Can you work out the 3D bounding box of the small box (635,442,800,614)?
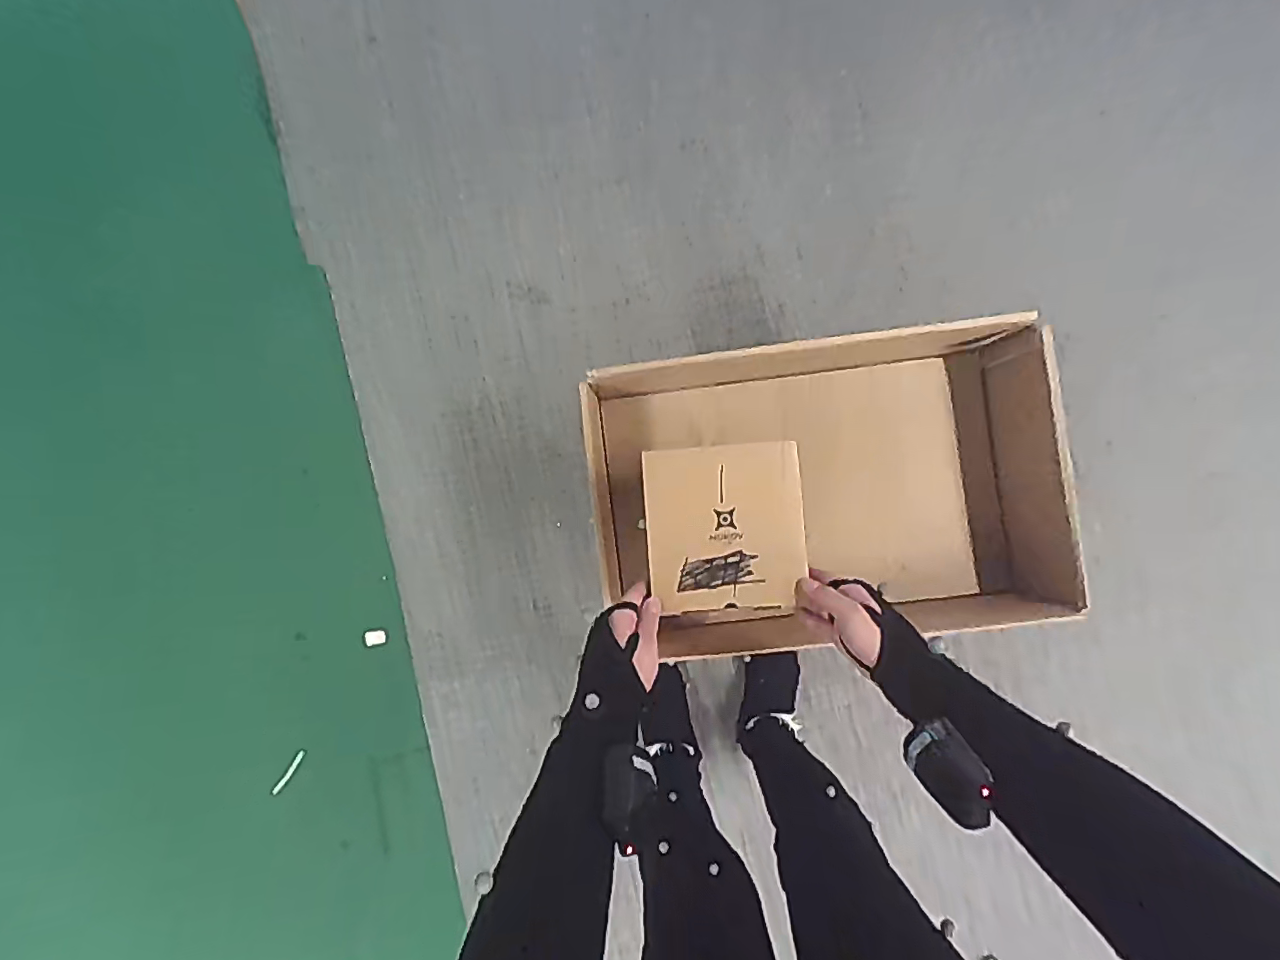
[{"bbox_3d":[0.091,0.054,0.653,0.168,0.176,0.179,-5,87,6],"label":"small box"}]
